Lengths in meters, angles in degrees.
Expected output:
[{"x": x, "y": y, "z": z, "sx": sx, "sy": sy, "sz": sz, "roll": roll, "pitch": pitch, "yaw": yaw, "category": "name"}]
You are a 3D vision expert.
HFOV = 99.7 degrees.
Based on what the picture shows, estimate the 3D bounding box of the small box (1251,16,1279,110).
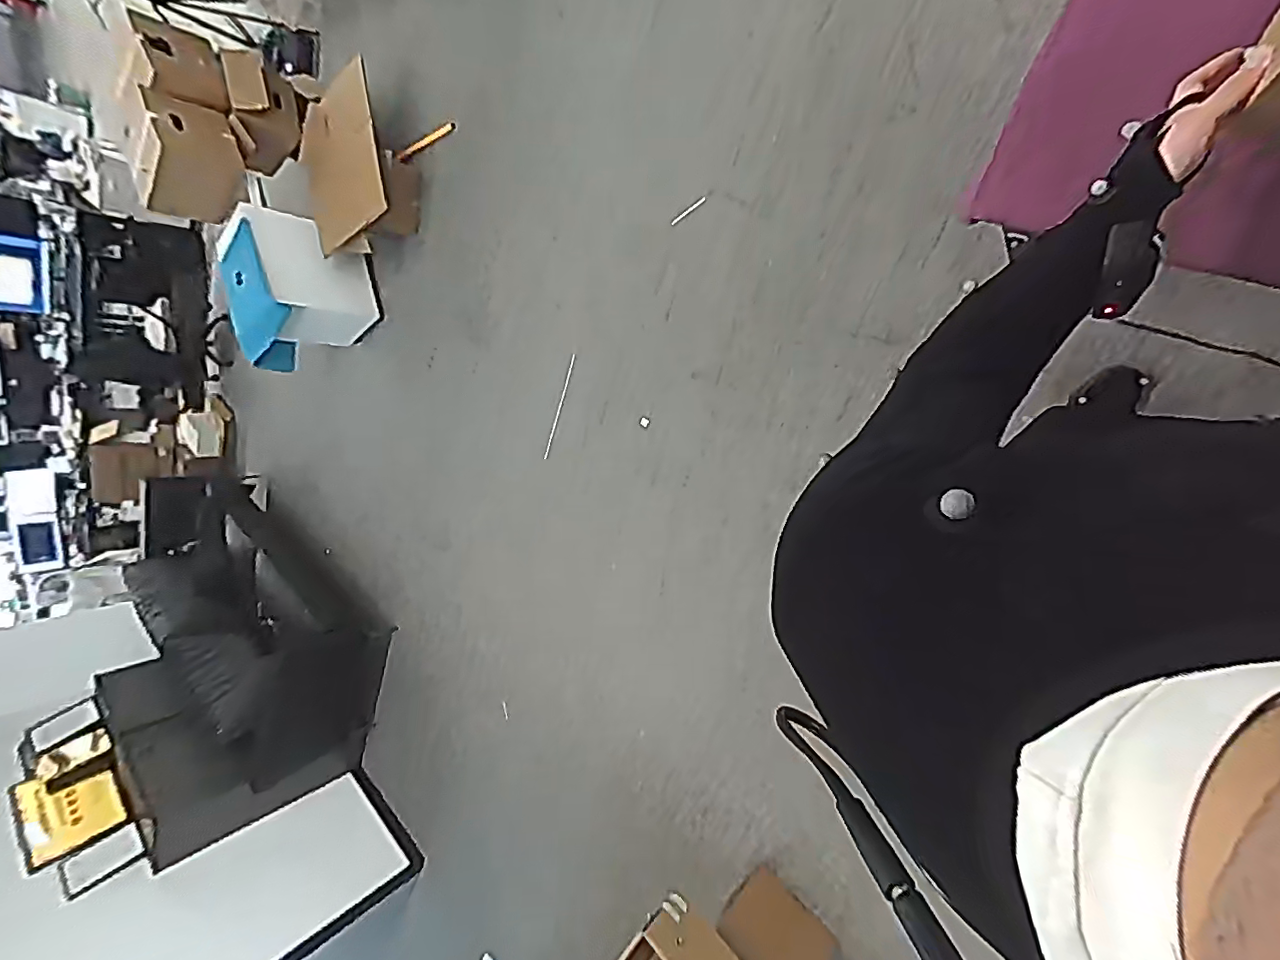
[{"x": 0.537, "y": -0.339, "z": 0.325, "sx": 0.168, "sy": 0.176, "sz": 0.179, "roll": 25, "pitch": 115, "yaw": 28, "category": "small box"}]
